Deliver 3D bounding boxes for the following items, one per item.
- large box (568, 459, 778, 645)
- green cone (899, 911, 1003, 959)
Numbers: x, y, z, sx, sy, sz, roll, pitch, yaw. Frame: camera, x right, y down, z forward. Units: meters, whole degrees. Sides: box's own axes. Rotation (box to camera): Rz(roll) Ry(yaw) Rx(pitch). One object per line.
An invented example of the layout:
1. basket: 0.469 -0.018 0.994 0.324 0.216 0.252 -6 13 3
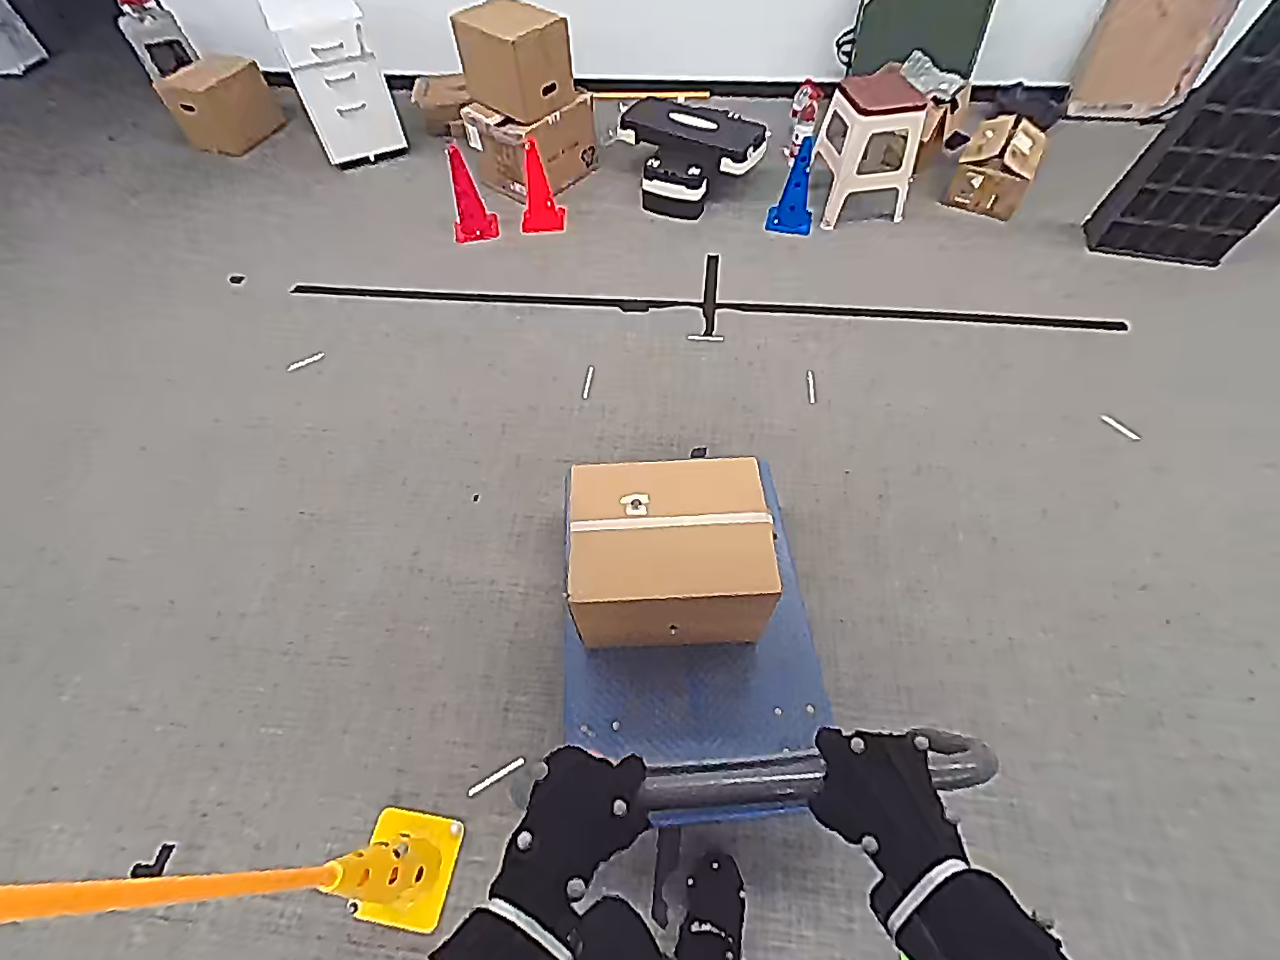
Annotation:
1. large box: 0.063 0.173 1.220 0.408 0.320 0.320 -3 57 1
2. green cone: 0.612 0.887 0.908 0.202 0.368 0.200 9 57 6
